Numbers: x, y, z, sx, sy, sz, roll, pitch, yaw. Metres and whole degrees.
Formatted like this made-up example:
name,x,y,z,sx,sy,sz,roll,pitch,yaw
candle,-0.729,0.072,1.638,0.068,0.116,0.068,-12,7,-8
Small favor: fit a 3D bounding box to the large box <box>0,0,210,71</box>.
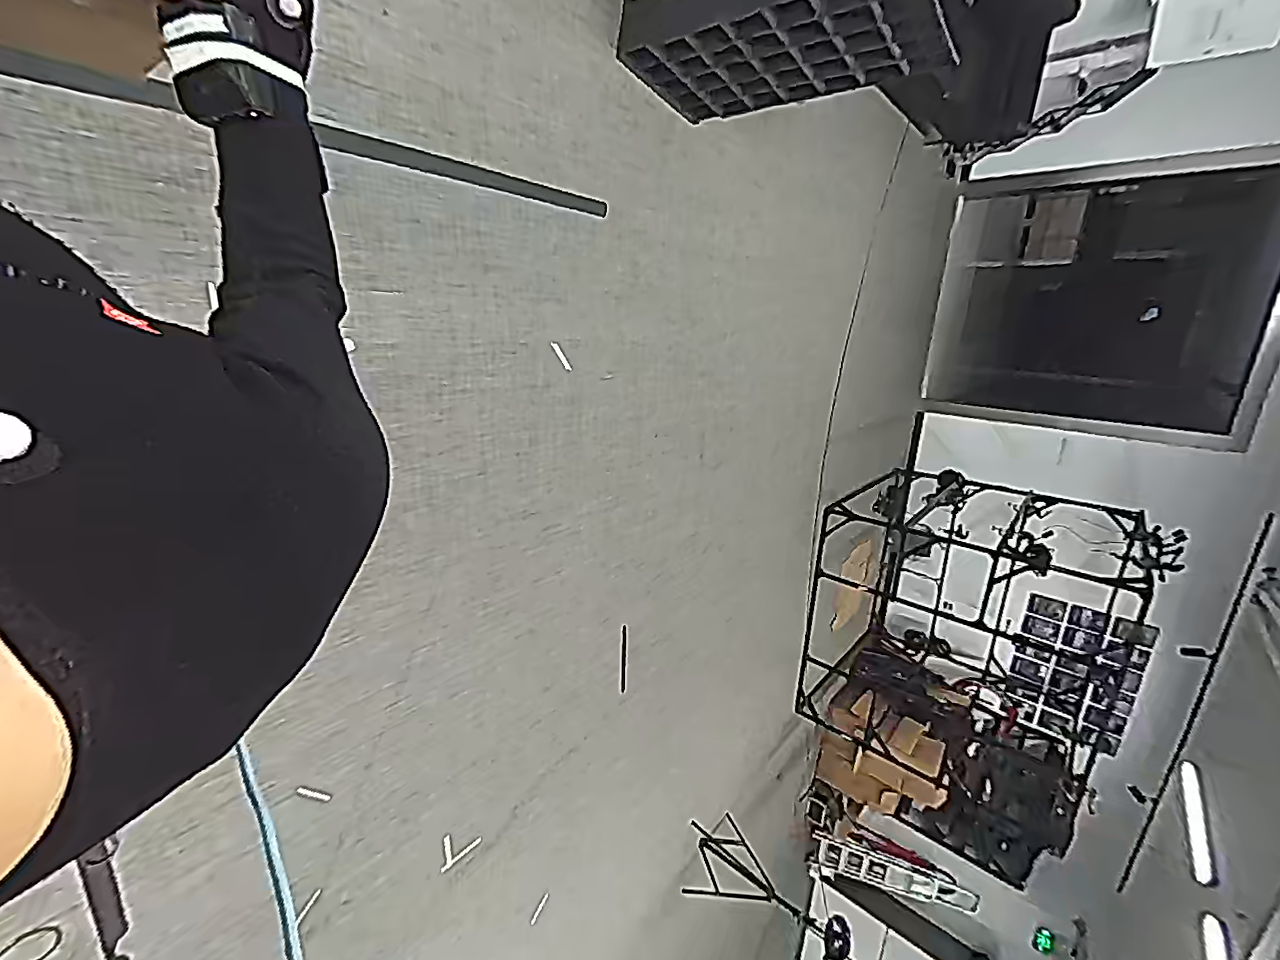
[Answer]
name,x,y,z,sx,sy,sz,roll,pitch,yaw
large box,-0.526,-0.474,0.272,0.408,0.320,0.320,-16,121,-47
